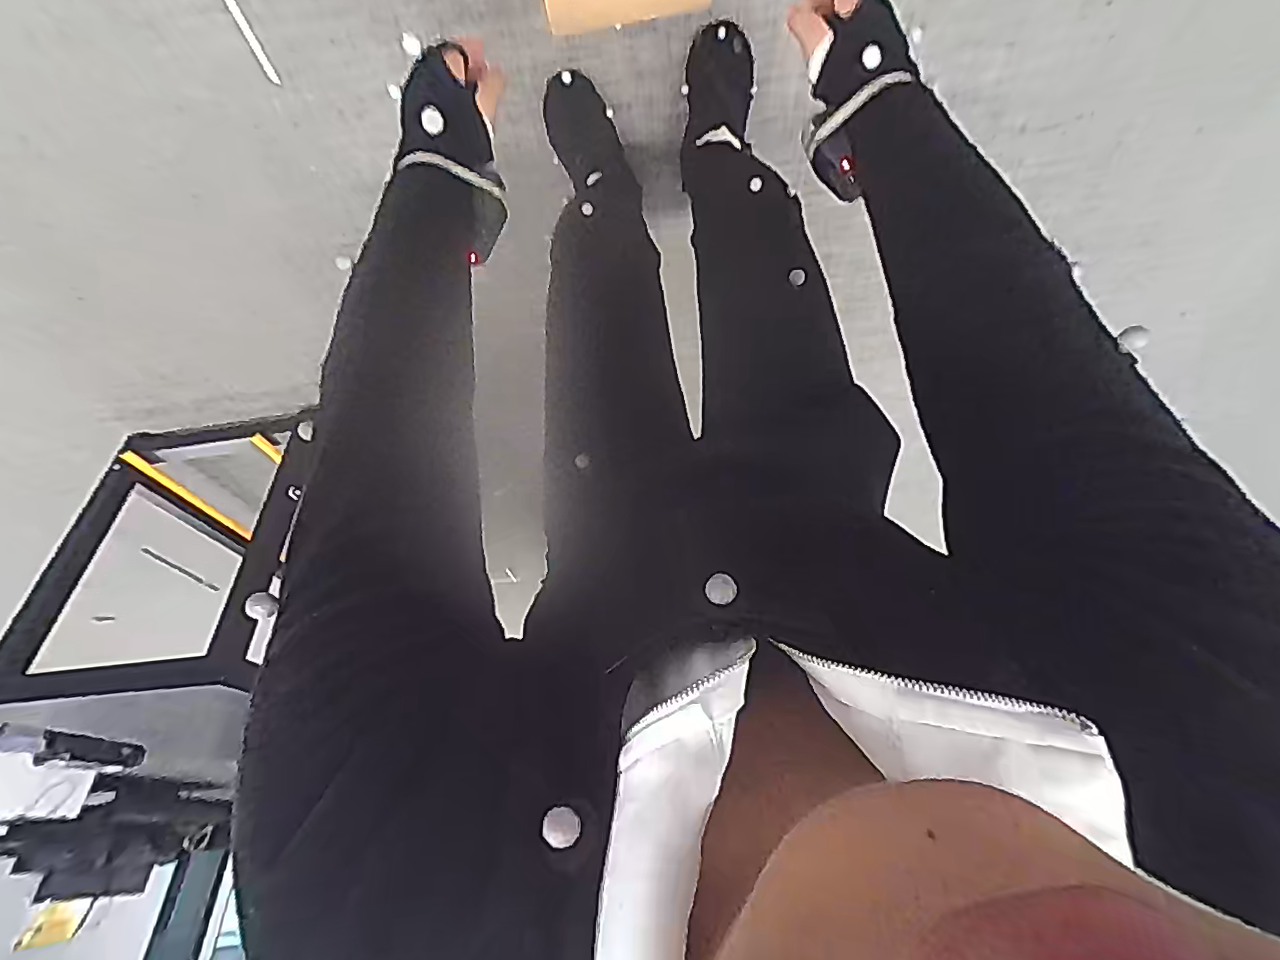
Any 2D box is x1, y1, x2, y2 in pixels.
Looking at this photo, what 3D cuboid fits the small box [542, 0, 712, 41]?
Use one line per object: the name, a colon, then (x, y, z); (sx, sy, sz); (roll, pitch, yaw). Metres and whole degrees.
small box: (-0.024, -0.592, 0.557); (0.179, 0.176, 0.168); (-8, 145, 3)
